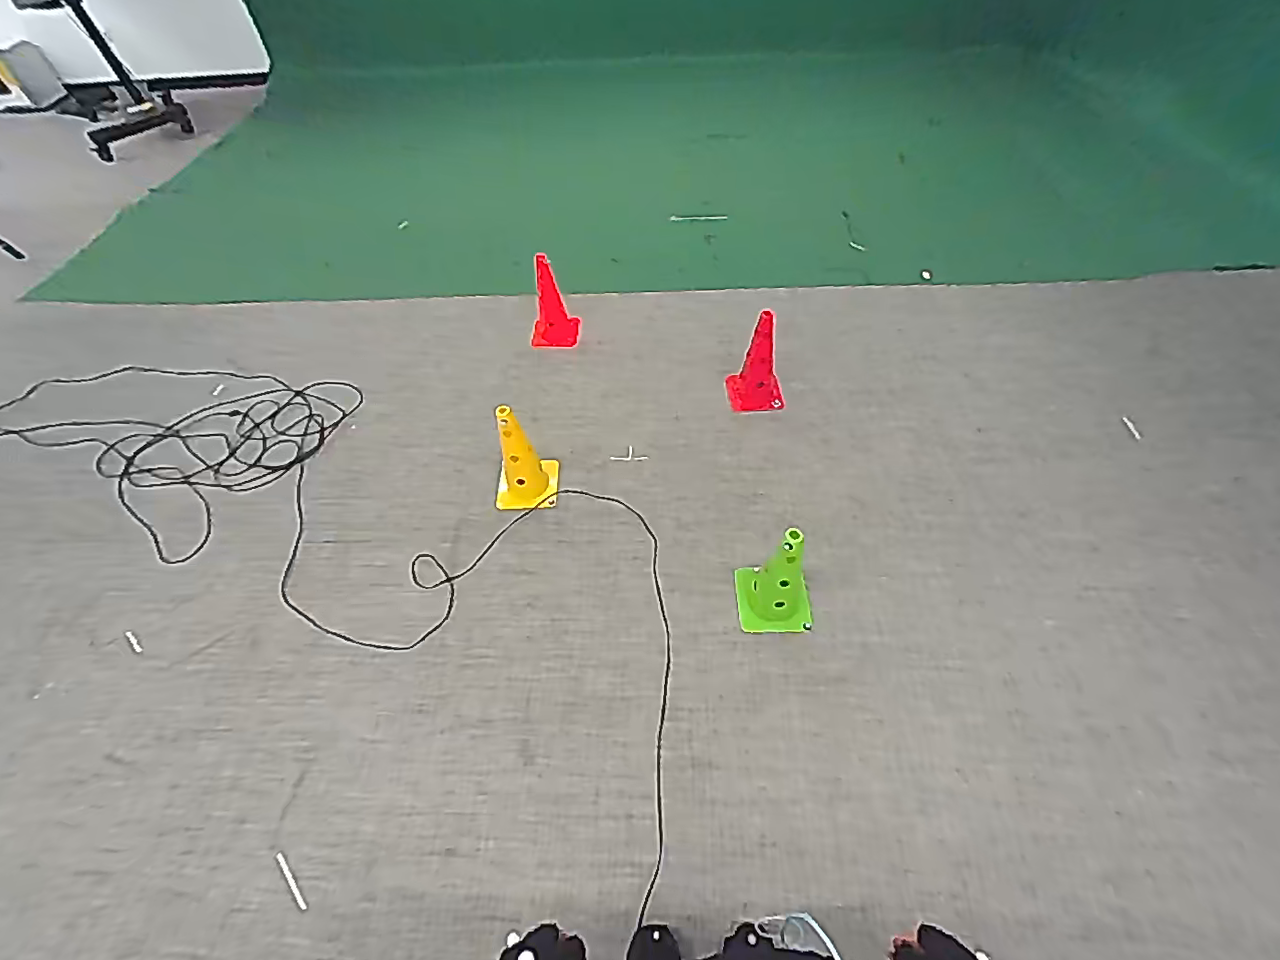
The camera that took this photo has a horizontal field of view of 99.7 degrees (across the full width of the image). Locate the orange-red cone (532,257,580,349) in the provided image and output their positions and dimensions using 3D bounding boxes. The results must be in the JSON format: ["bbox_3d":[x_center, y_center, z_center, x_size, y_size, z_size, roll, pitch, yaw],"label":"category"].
[{"bbox_3d":[-0.374,-0.735,2.206,0.198,0.360,0.199,-1,53,4],"label":"orange-red cone"}]

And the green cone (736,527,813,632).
[{"bbox_3d":[0.371,0.233,1.418,0.202,0.368,0.200,-3,52,3],"label":"green cone"}]

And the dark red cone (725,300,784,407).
[{"bbox_3d":[0.421,-0.454,1.911,0.202,0.394,0.201,-5,51,0],"label":"dark red cone"}]
